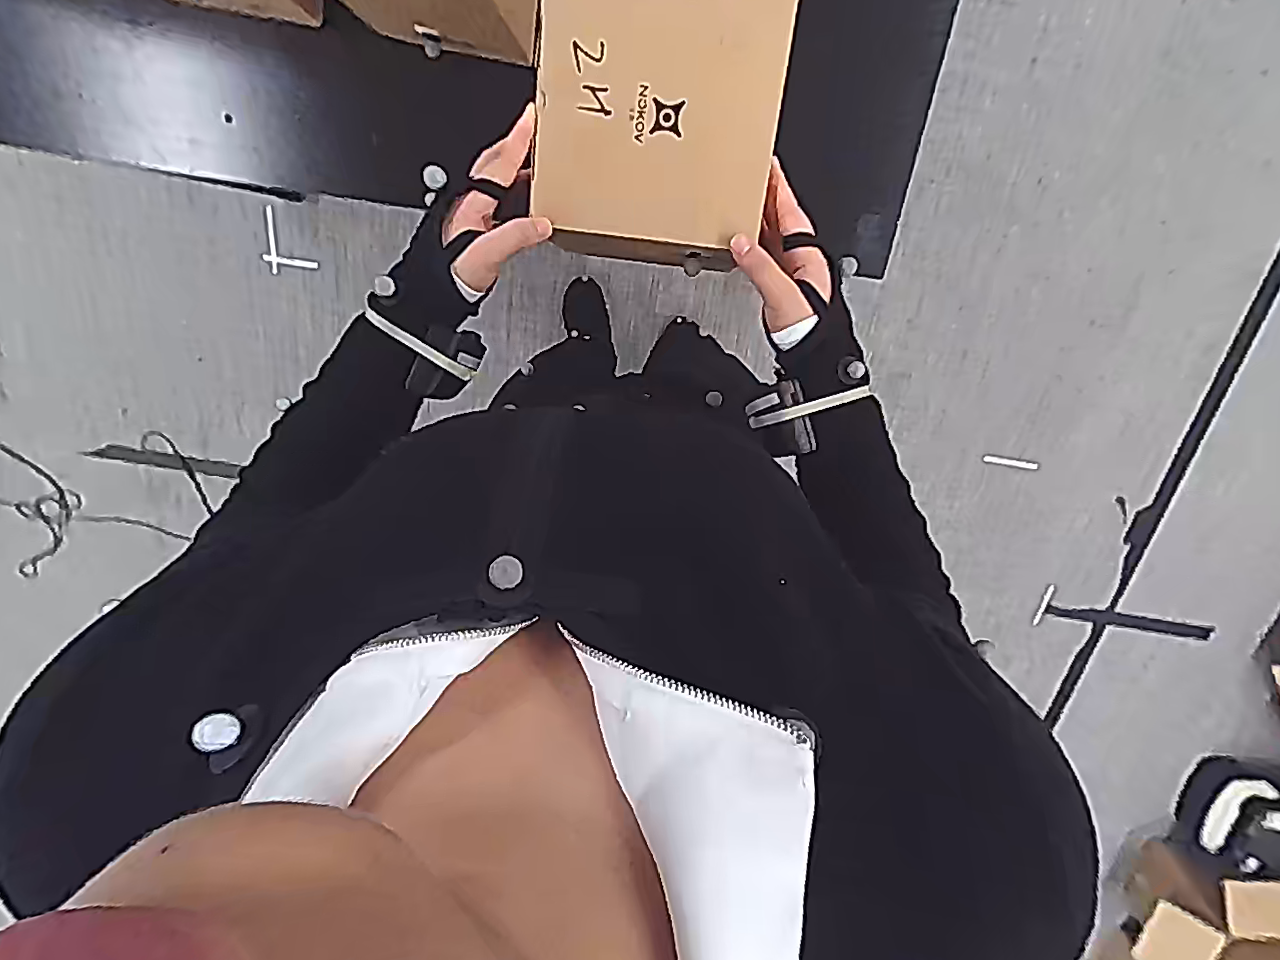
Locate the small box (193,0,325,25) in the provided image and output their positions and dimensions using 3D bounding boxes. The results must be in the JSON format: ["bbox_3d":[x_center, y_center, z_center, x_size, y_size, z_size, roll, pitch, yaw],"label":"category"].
[{"bbox_3d":[-0.406,-0.551,0.481,0.168,0.176,0.179,9,110,-1],"label":"small box"}]

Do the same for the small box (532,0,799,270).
[{"bbox_3d":[0.017,-0.285,0.471,0.179,0.176,0.168,8,106,1],"label":"small box"}]

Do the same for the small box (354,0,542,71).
[{"bbox_3d":[-0.183,-0.515,0.490,0.168,0.176,0.179,10,111,-1],"label":"small box"}]
